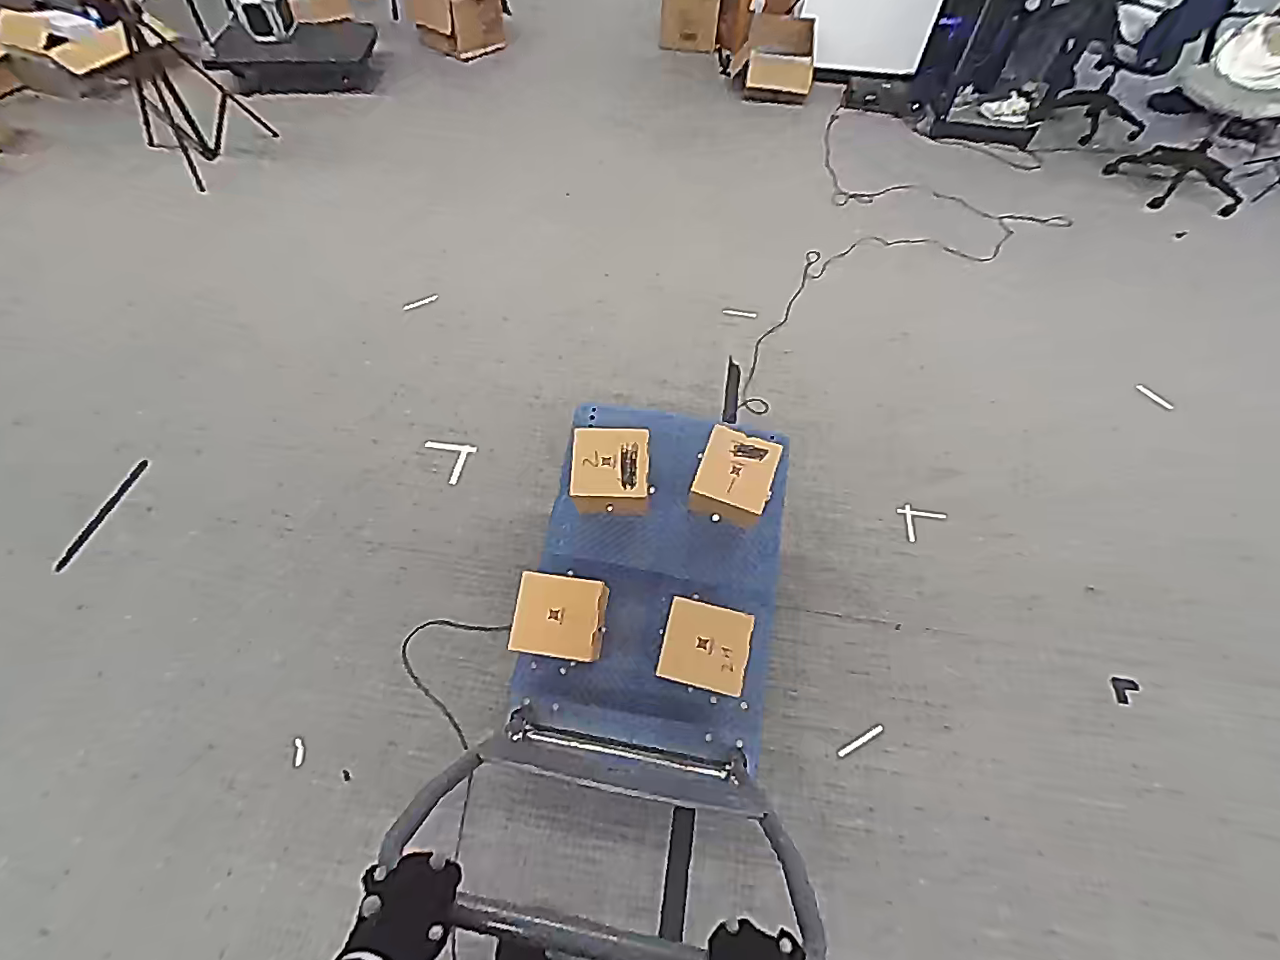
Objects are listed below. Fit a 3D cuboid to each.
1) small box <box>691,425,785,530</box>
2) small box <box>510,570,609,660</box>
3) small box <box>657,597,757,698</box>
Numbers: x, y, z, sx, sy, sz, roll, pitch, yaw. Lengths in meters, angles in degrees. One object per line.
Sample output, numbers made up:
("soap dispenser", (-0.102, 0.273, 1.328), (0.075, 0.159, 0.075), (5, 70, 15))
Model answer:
("small box", (0.227, 0.000, 1.295), (0.168, 0.176, 0.179), (20, 75, 8))
("small box", (-0.171, 0.307, 1.206), (0.179, 0.176, 0.168), (8, 72, 2))
("small box", (0.140, 0.365, 1.179), (0.179, 0.176, 0.168), (14, 73, 6))
